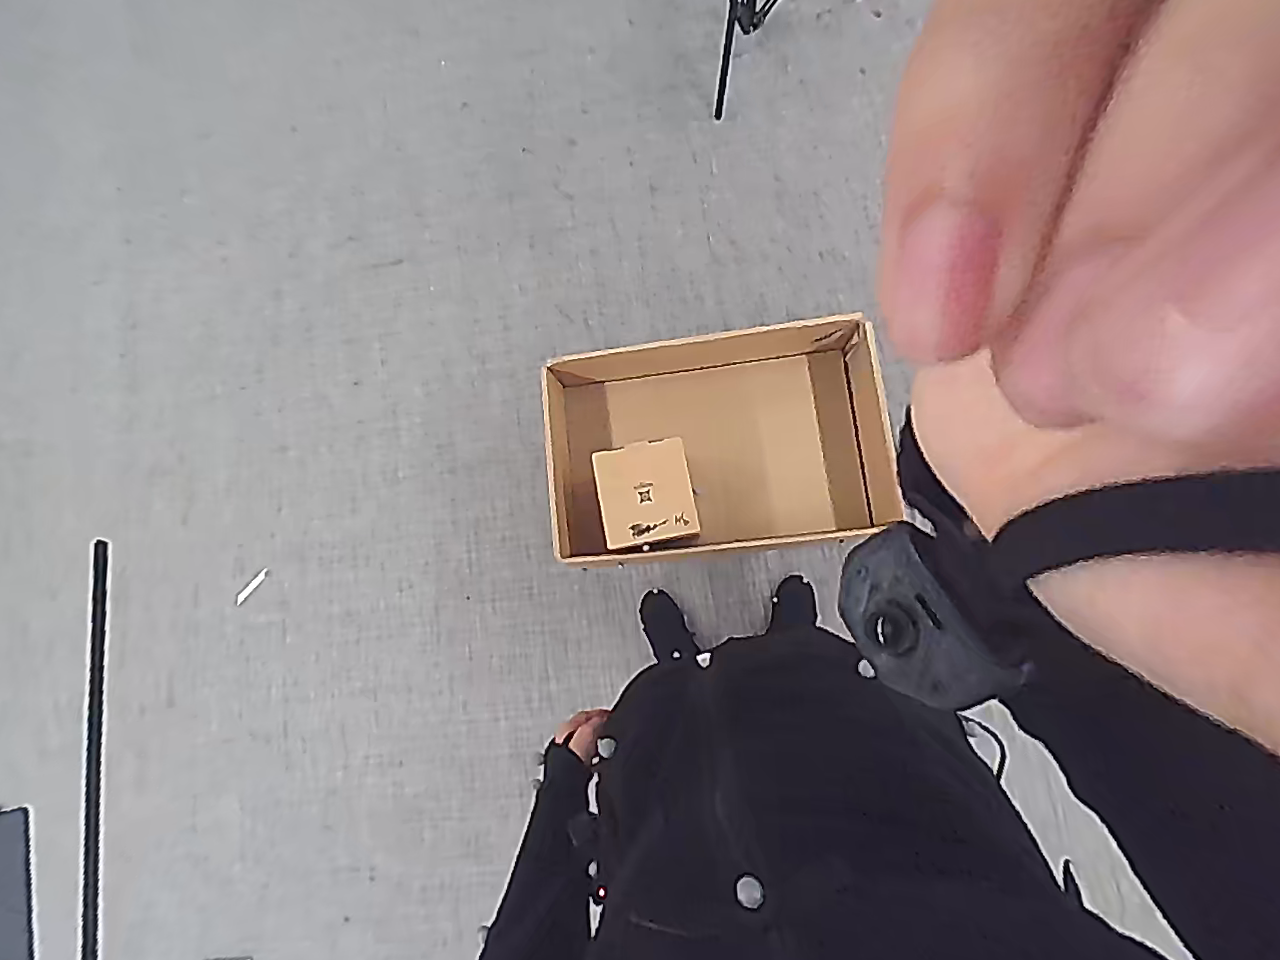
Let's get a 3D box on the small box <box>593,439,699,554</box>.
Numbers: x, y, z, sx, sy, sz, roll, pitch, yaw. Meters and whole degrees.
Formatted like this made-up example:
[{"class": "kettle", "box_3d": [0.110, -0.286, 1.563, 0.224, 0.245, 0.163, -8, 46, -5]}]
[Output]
[{"class": "small box", "box_3d": [0.016, 0.038, 1.024, 0.168, 0.176, 0.179, -12, 79, 6]}]
